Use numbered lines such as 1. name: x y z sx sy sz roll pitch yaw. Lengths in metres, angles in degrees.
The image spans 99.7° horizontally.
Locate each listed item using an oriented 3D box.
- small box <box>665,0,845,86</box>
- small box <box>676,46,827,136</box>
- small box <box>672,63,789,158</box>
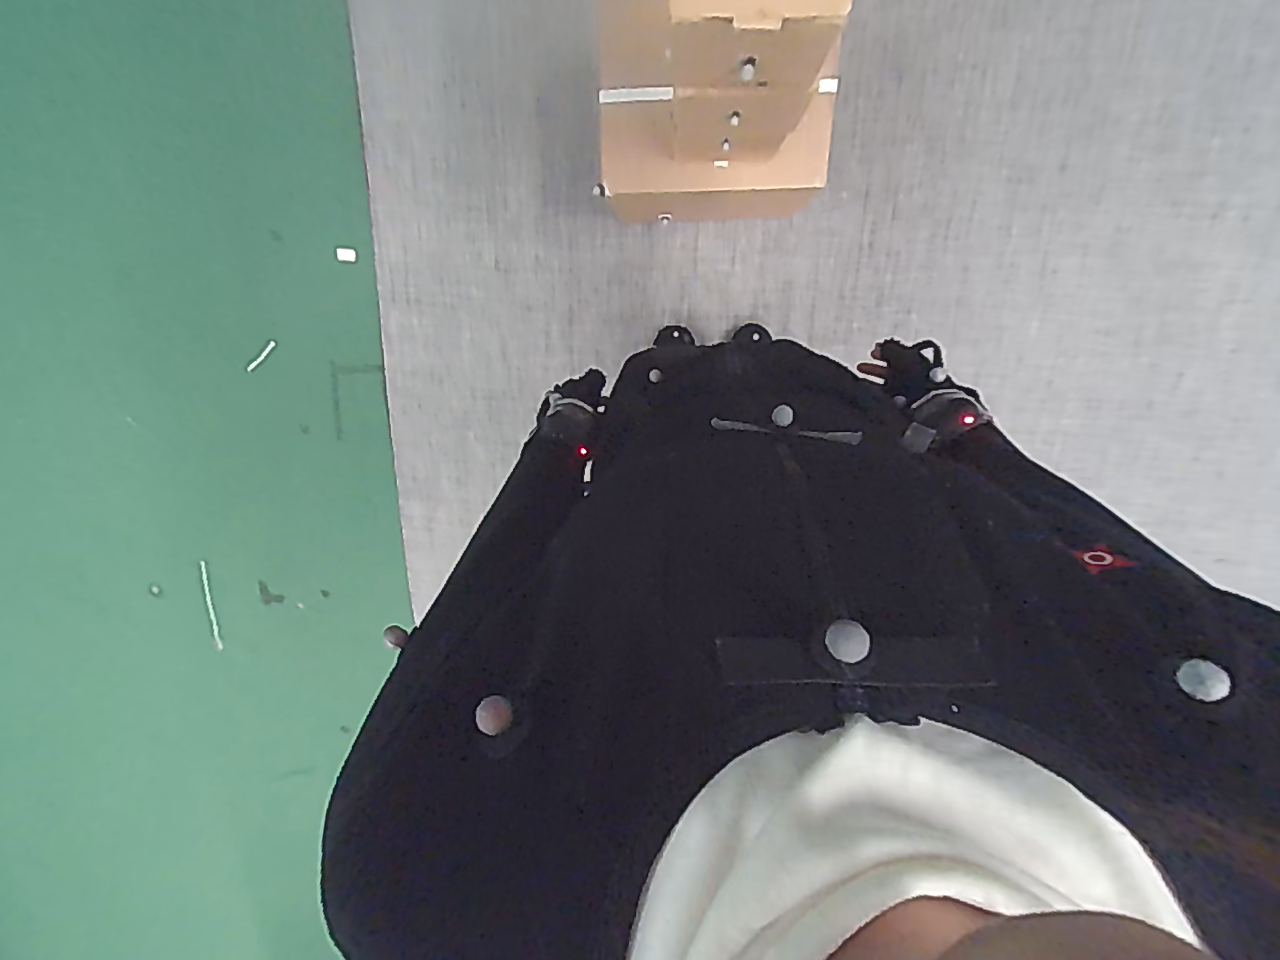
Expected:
1. small box: 0.119 -0.527 0.546 0.168 0.176 0.179 5 109 5
2. small box: 0.136 -0.568 0.704 0.179 0.176 0.168 -1 108 5
3. small box: 0.144 -0.623 0.858 0.179 0.176 0.168 3 109 4
